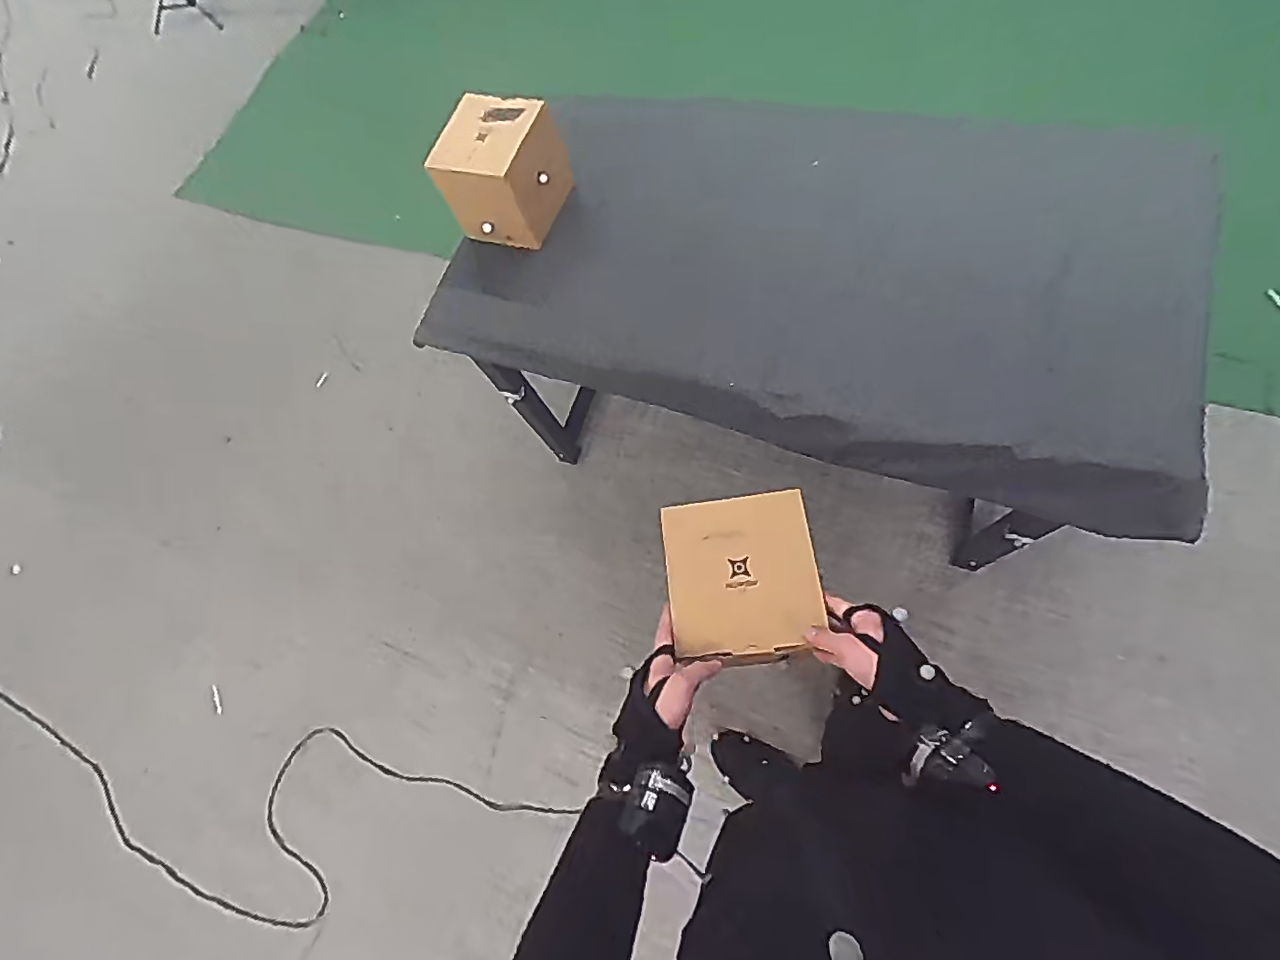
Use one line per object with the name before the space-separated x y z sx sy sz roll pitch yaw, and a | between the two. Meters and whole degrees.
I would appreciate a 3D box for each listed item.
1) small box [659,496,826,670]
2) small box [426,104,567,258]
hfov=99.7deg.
small box | 0.123 0.140 0.679 0.168 0.176 0.179 -9 65 6
small box | -0.251 -0.548 1.001 0.168 0.176 0.179 16 75 16
